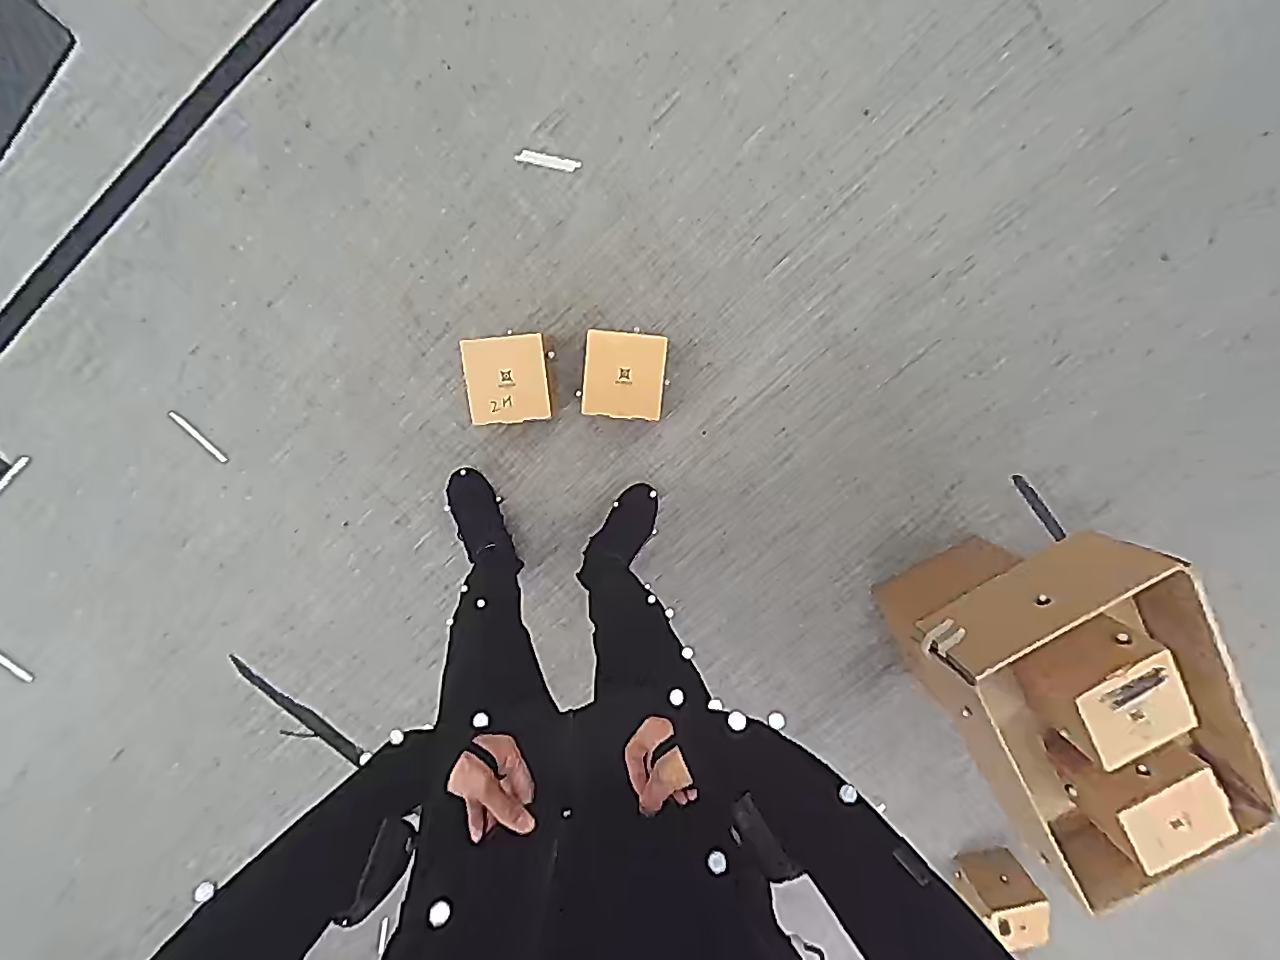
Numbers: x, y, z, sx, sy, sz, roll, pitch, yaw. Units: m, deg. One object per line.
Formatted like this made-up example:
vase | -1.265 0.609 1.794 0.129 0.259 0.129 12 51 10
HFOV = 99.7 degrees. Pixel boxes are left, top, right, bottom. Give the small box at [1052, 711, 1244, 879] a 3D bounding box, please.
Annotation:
small box | 0.927 0.569 1.001 0.179 0.176 0.168 -32 102 2

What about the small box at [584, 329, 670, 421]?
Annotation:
small box | -0.033 -0.234 1.193 0.168 0.176 0.179 4 104 -4

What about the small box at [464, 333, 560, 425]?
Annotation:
small box | -0.271 -0.223 1.181 0.168 0.176 0.179 -5 104 -1

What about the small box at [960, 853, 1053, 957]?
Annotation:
small box | 1.083 1.259 1.609 0.179 0.176 0.168 -10 104 -1
